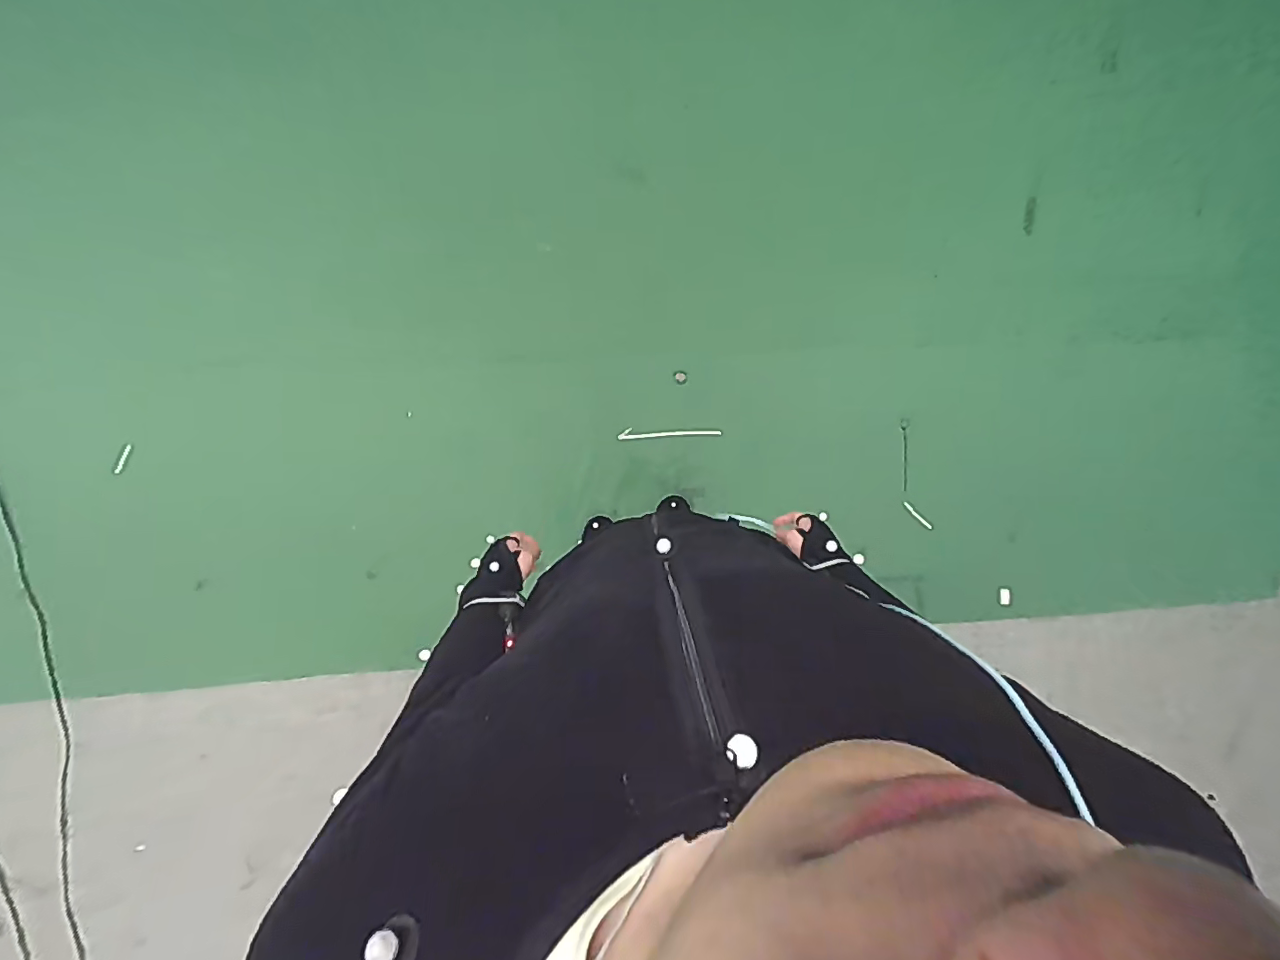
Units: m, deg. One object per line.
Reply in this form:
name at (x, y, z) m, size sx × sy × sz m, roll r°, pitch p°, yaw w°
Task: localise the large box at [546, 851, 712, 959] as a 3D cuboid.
large box at (-0.023, 1.272, 1.457) m, size 0.408 × 0.320 × 0.320 m, roll -6°, pitch 88°, yaw -3°
